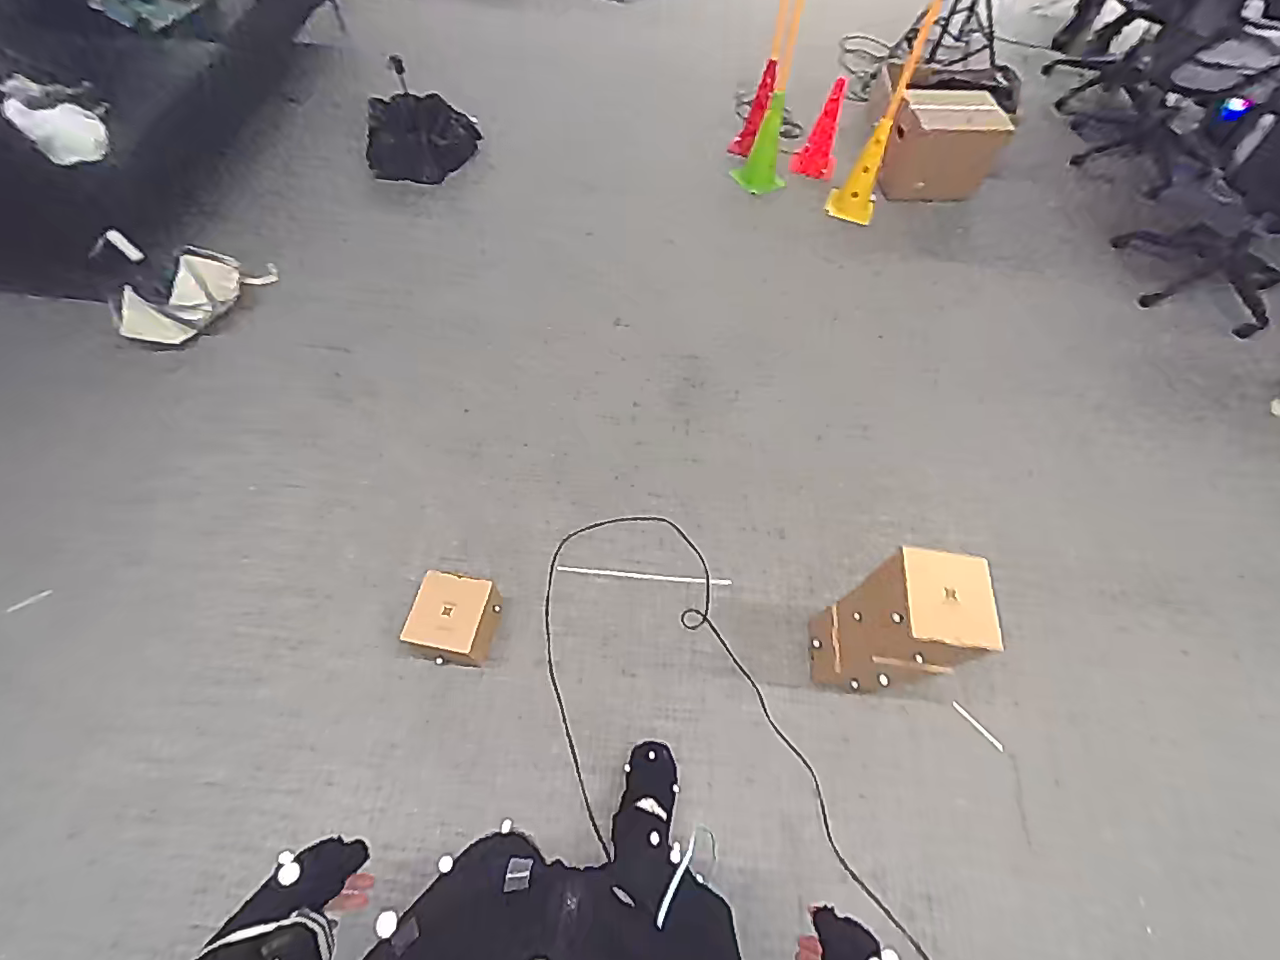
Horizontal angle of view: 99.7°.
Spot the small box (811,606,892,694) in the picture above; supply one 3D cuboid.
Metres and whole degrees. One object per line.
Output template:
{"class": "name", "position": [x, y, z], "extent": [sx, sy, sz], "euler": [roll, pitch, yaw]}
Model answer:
{"class": "small box", "position": [0.532, 0.425, 1.341], "extent": [0.179, 0.176, 0.168], "euler": [8, 61, 1]}

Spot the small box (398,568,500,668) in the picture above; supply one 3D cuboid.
{"class": "small box", "position": [-0.451, 0.339, 1.312], "extent": [0.168, 0.176, 0.179], "euler": [11, 60, 3]}

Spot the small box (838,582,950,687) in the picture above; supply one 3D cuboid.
{"class": "small box", "position": [0.549, 0.345, 1.198], "extent": [0.168, 0.176, 0.179], "euler": [9, 61, 1]}

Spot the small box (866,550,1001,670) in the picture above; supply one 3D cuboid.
{"class": "small box", "position": [0.561, 0.258, 1.061], "extent": [0.168, 0.176, 0.179], "euler": [8, 61, 0]}
